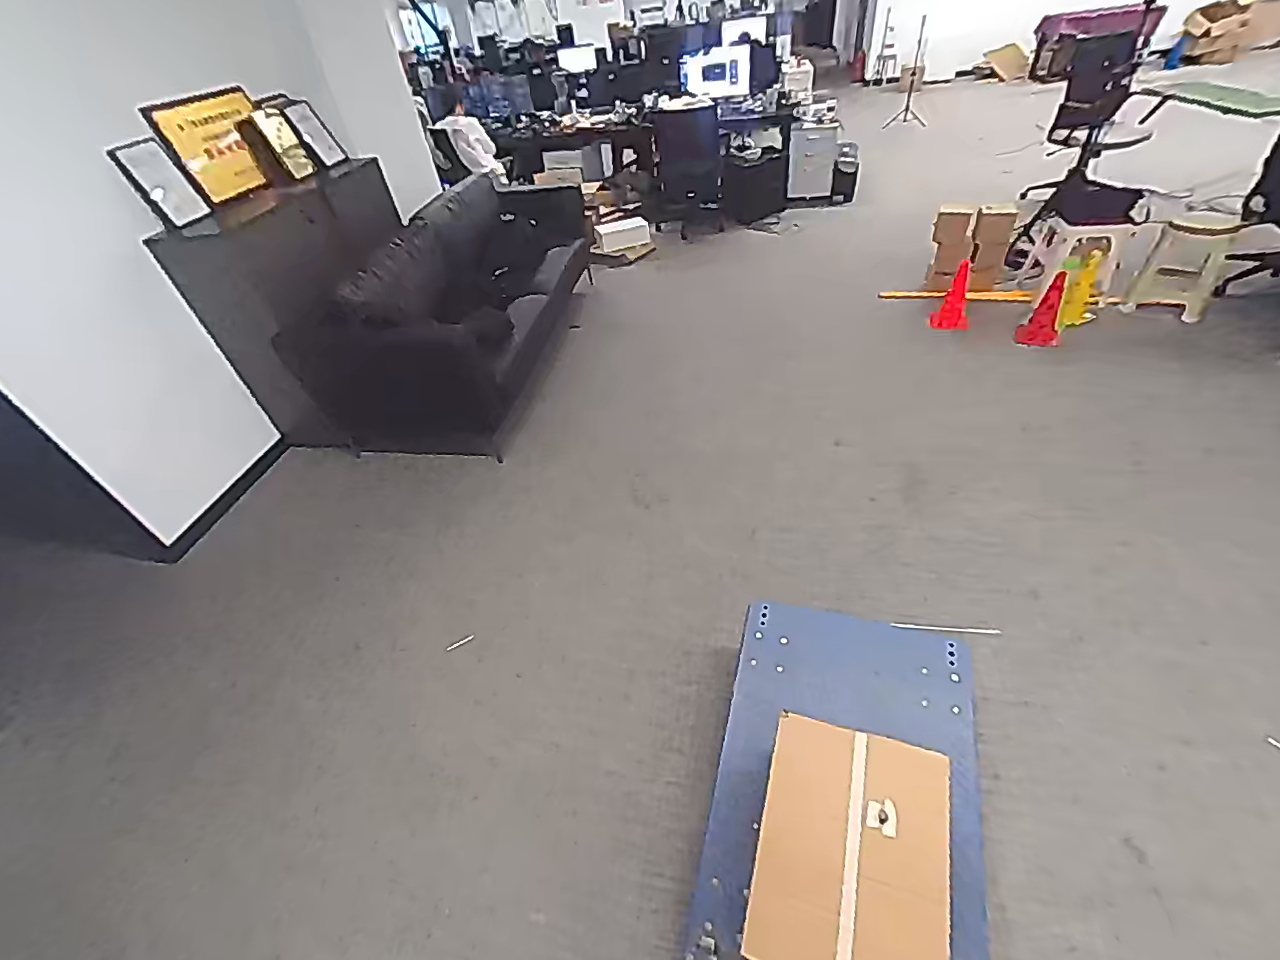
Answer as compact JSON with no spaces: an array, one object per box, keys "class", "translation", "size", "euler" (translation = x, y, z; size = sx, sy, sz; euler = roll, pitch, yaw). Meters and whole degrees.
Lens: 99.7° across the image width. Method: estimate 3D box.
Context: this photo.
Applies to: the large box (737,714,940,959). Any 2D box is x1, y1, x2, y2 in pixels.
[{"class":"large box","translation":[0.386,0.752,1.076],"size":[0.320,0.320,0.408],"euler":[10,54,18]}]
